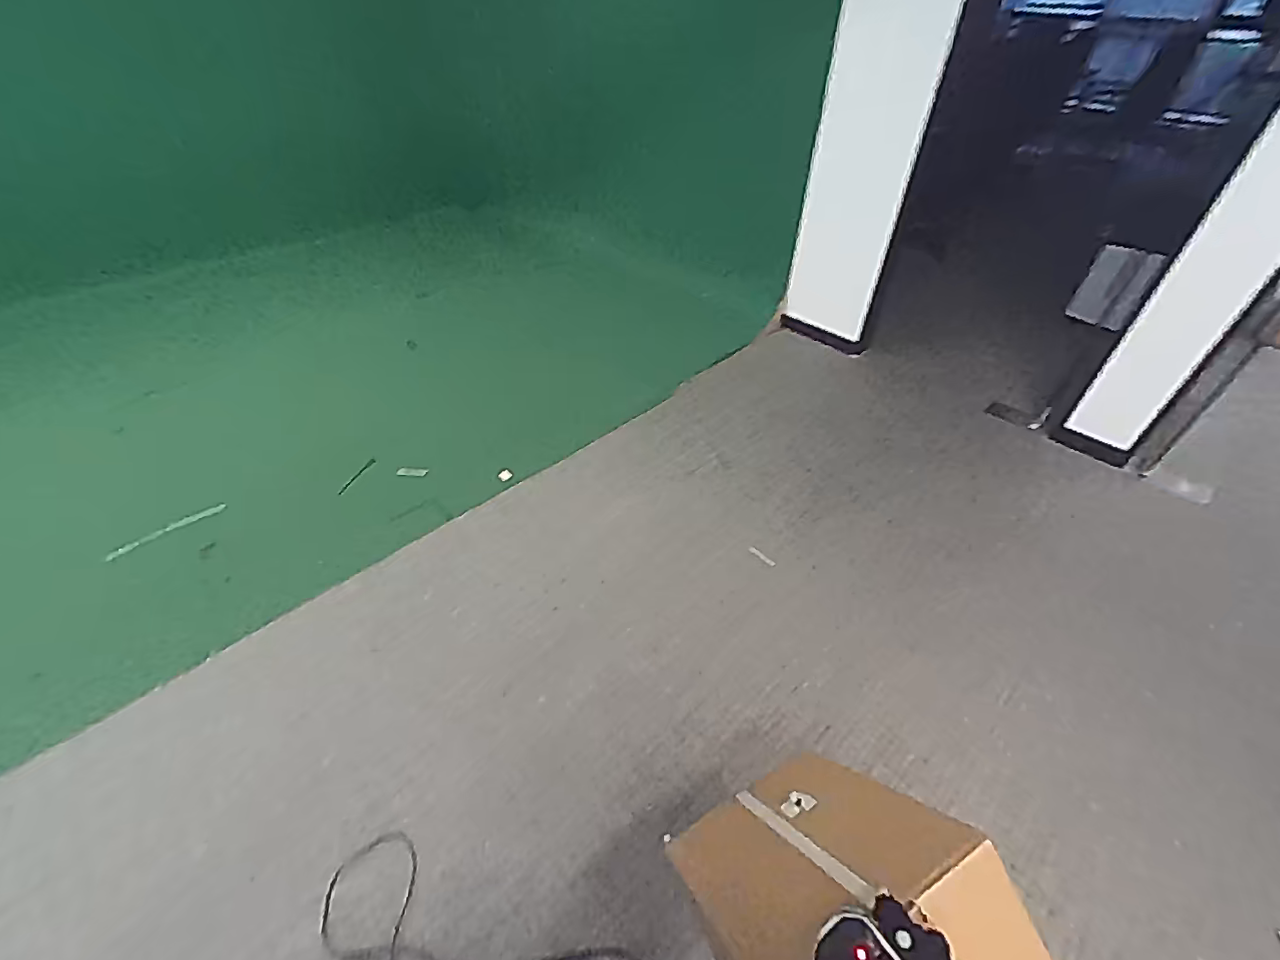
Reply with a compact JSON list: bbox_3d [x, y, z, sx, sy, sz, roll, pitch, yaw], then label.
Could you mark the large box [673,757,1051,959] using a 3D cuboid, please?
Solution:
[{"bbox_3d":[0.298,0.656,0.757,0.320,0.408,0.320,-23,82,-18],"label":"large box"}]
